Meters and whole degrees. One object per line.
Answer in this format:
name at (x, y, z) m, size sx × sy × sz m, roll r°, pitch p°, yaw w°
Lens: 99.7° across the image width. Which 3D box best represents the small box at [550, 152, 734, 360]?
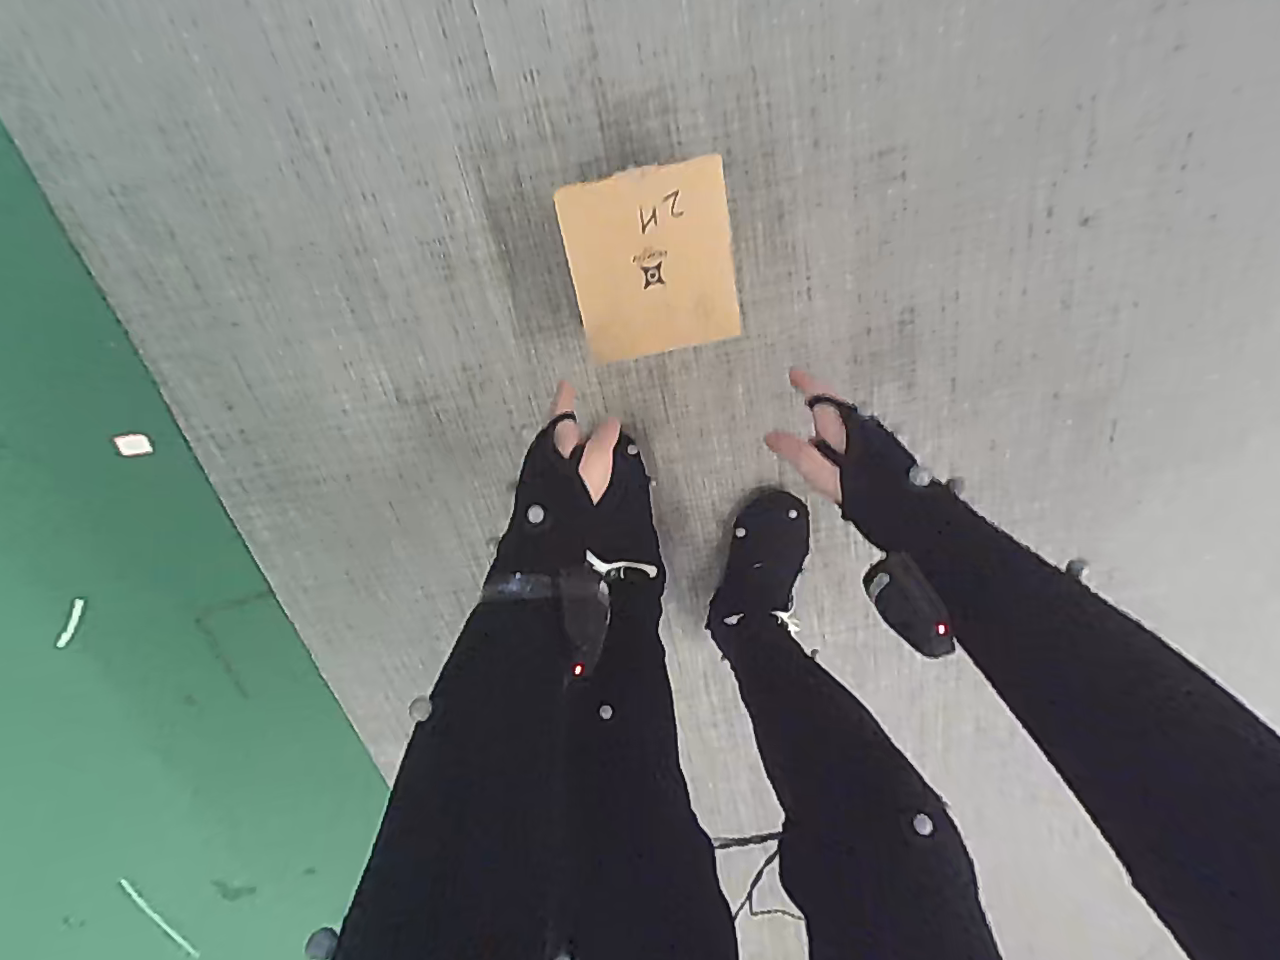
small box at (0.005, -0.254, 0.623) m, size 0.168 × 0.176 × 0.179 m, roll -11°, pitch 114°, yaw 2°
